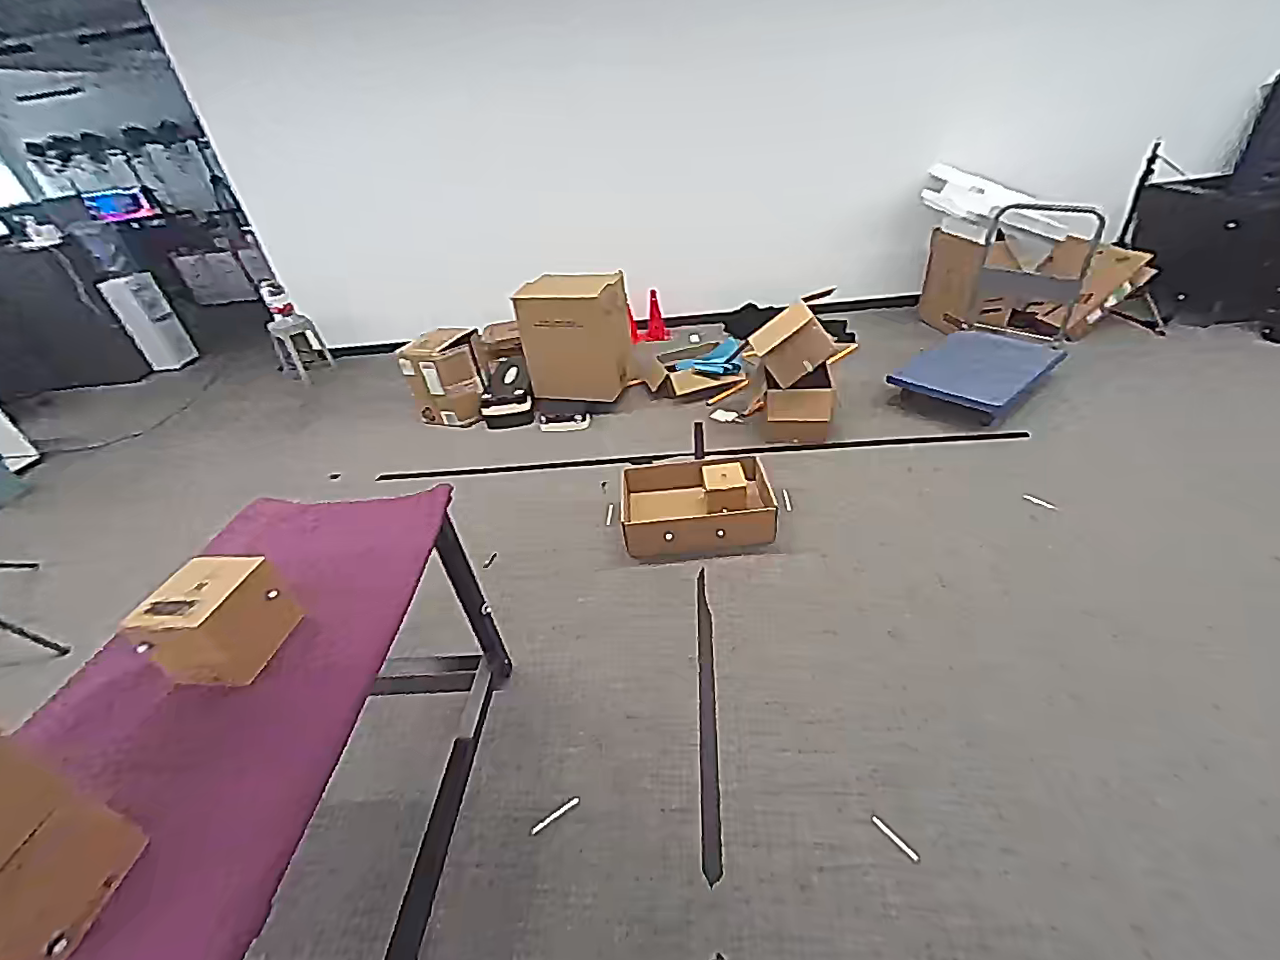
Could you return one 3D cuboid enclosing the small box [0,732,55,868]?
[{"bbox_3d":[-0.824,0.385,0.593,0.168,0.176,0.179,-4,35,5],"label":"small box"}]

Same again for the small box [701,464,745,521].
[{"bbox_3d":[0.352,0.053,2.307,0.168,0.176,0.179,-7,35,3],"label":"small box"}]

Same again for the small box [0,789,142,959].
[{"bbox_3d":[-0.815,0.518,0.690,0.179,0.176,0.168,-4,35,6],"label":"small box"}]
